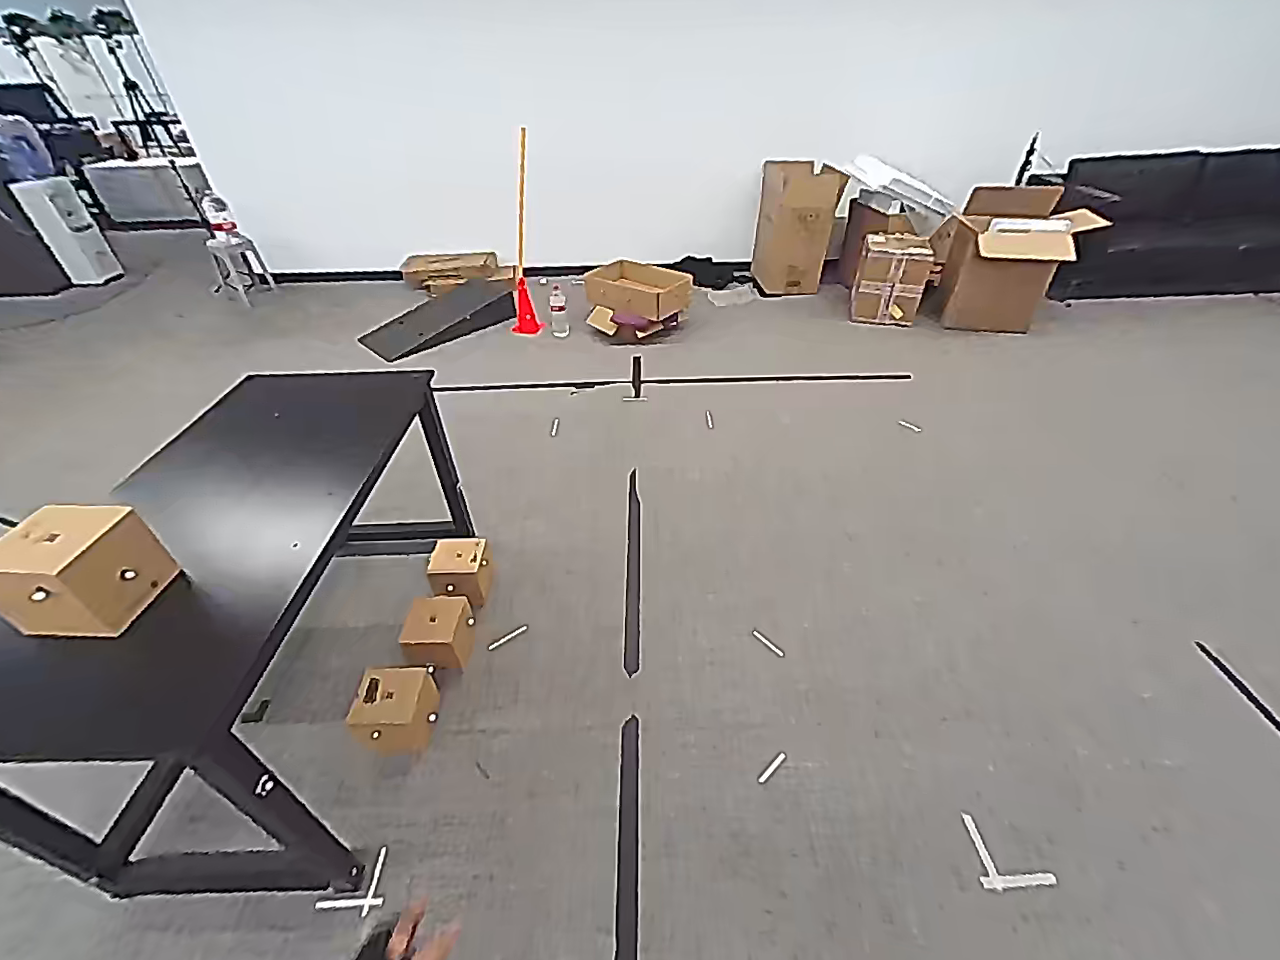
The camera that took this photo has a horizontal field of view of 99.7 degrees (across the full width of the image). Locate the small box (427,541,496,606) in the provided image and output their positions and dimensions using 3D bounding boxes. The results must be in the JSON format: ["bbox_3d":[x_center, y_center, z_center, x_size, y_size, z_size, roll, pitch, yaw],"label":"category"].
[{"bbox_3d":[-0.631,0.338,1.929,0.179,0.176,0.168,-2,39,0],"label":"small box"}]

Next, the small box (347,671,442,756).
[{"bbox_3d":[-0.684,0.660,1.526,0.179,0.176,0.168,-1,39,-1],"label":"small box"}]

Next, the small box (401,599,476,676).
[{"bbox_3d":[-0.632,0.503,1.725,0.168,0.176,0.179,-3,39,1],"label":"small box"}]

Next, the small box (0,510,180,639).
[{"bbox_3d":[-1.007,0.172,0.982,0.179,0.176,0.168,0,38,3],"label":"small box"}]
